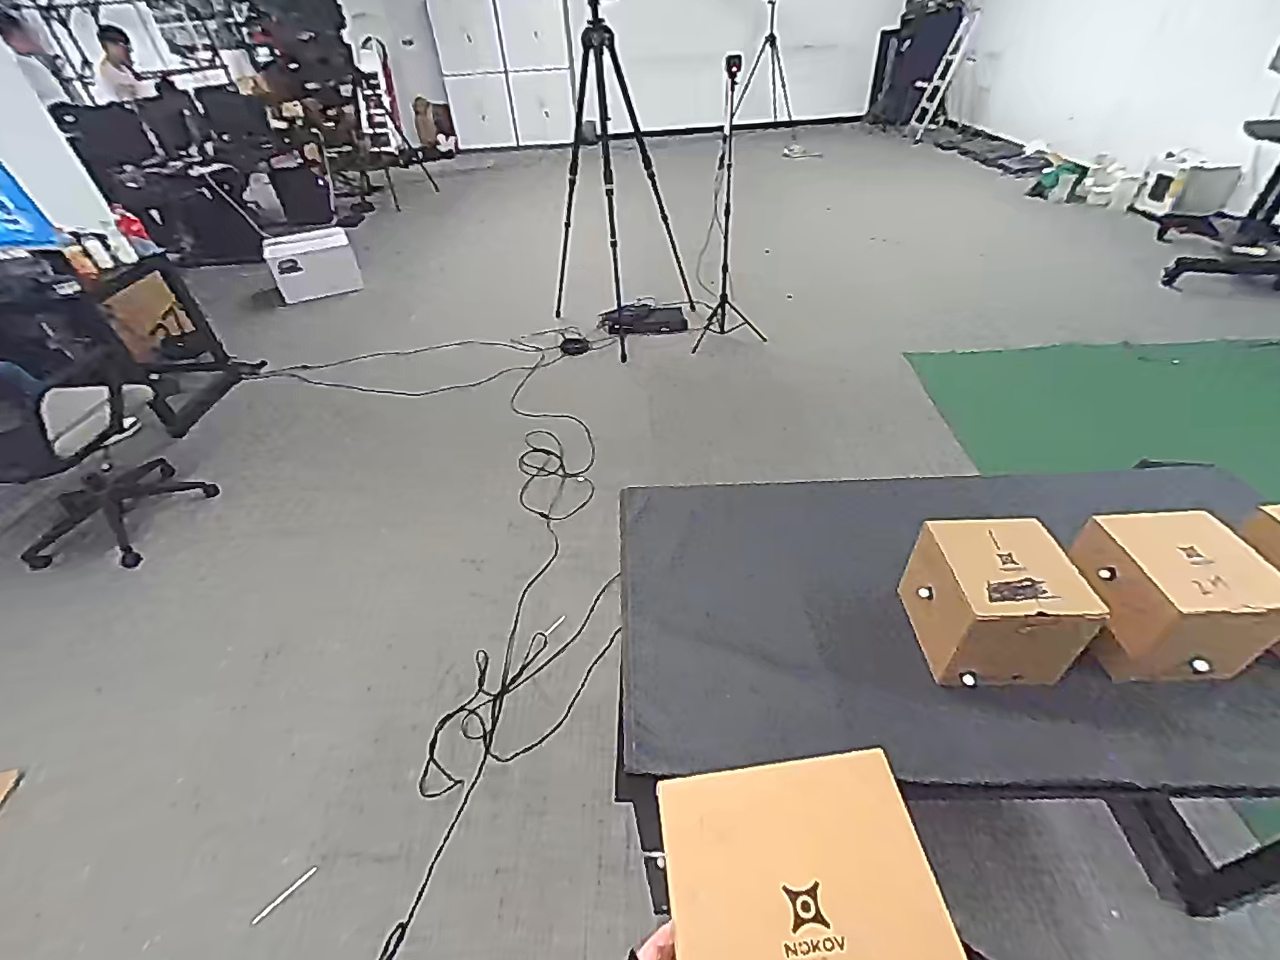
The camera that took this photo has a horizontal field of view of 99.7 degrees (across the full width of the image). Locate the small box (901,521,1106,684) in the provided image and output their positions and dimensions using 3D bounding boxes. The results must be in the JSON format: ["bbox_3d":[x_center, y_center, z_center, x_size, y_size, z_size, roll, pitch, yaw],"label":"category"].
[{"bbox_3d":[0.508,0.181,0.790,0.168,0.176,0.179,-1,39,3],"label":"small box"}]

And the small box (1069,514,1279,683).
[{"bbox_3d":[0.750,0.170,0.780,0.168,0.176,0.179,-3,40,2],"label":"small box"}]

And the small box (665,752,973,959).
[{"bbox_3d":[0.111,0.320,0.376,0.168,0.176,0.179,-9,43,0],"label":"small box"}]
